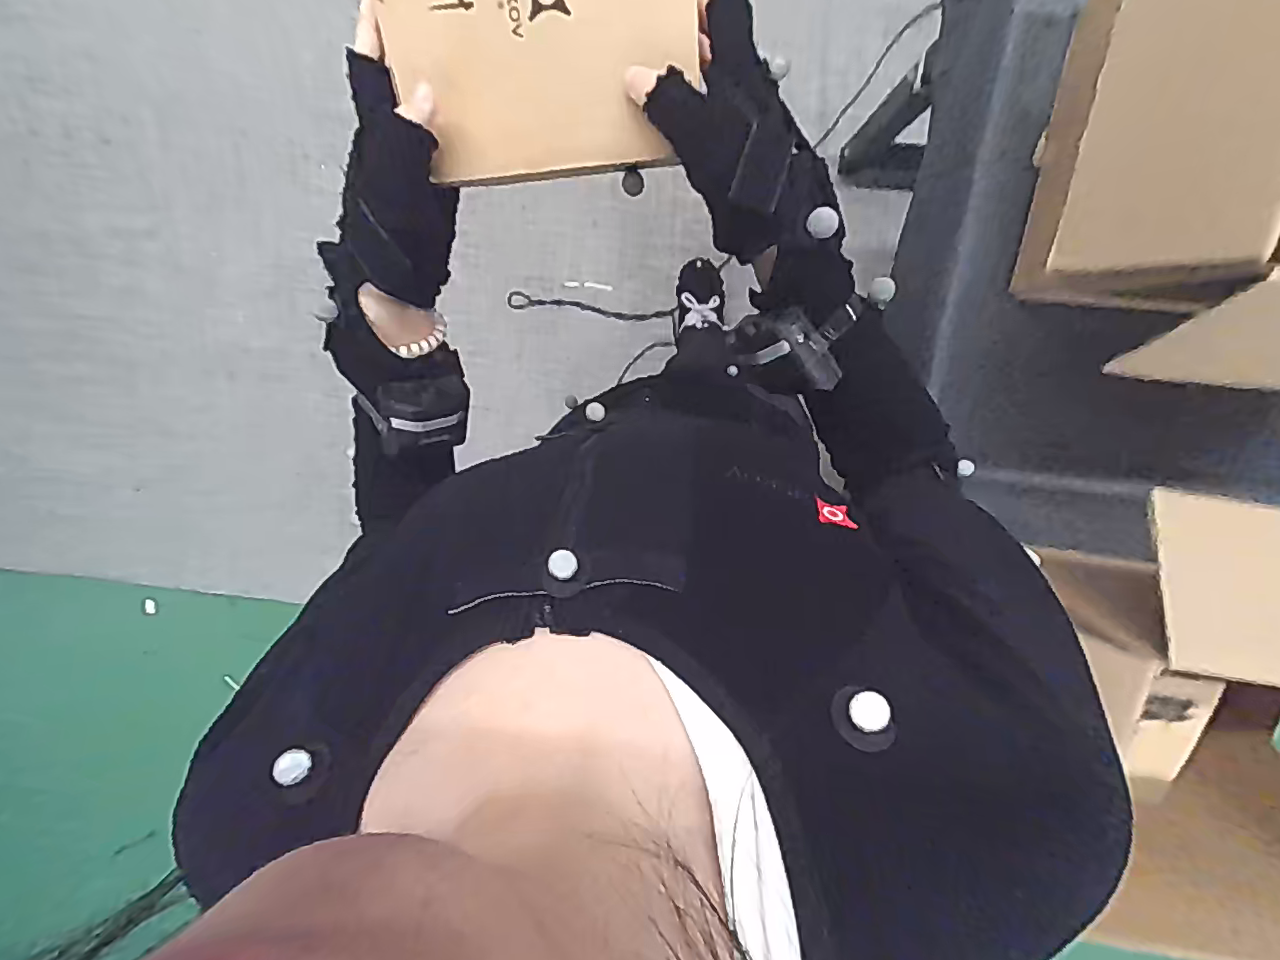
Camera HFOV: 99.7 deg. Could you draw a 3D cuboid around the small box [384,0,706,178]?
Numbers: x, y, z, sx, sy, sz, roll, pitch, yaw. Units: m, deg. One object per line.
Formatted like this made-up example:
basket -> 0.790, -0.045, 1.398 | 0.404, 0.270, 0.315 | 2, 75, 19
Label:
small box -> -0.051, -0.302, 0.361 | 0.179, 0.176, 0.168 | -3, 118, 4
